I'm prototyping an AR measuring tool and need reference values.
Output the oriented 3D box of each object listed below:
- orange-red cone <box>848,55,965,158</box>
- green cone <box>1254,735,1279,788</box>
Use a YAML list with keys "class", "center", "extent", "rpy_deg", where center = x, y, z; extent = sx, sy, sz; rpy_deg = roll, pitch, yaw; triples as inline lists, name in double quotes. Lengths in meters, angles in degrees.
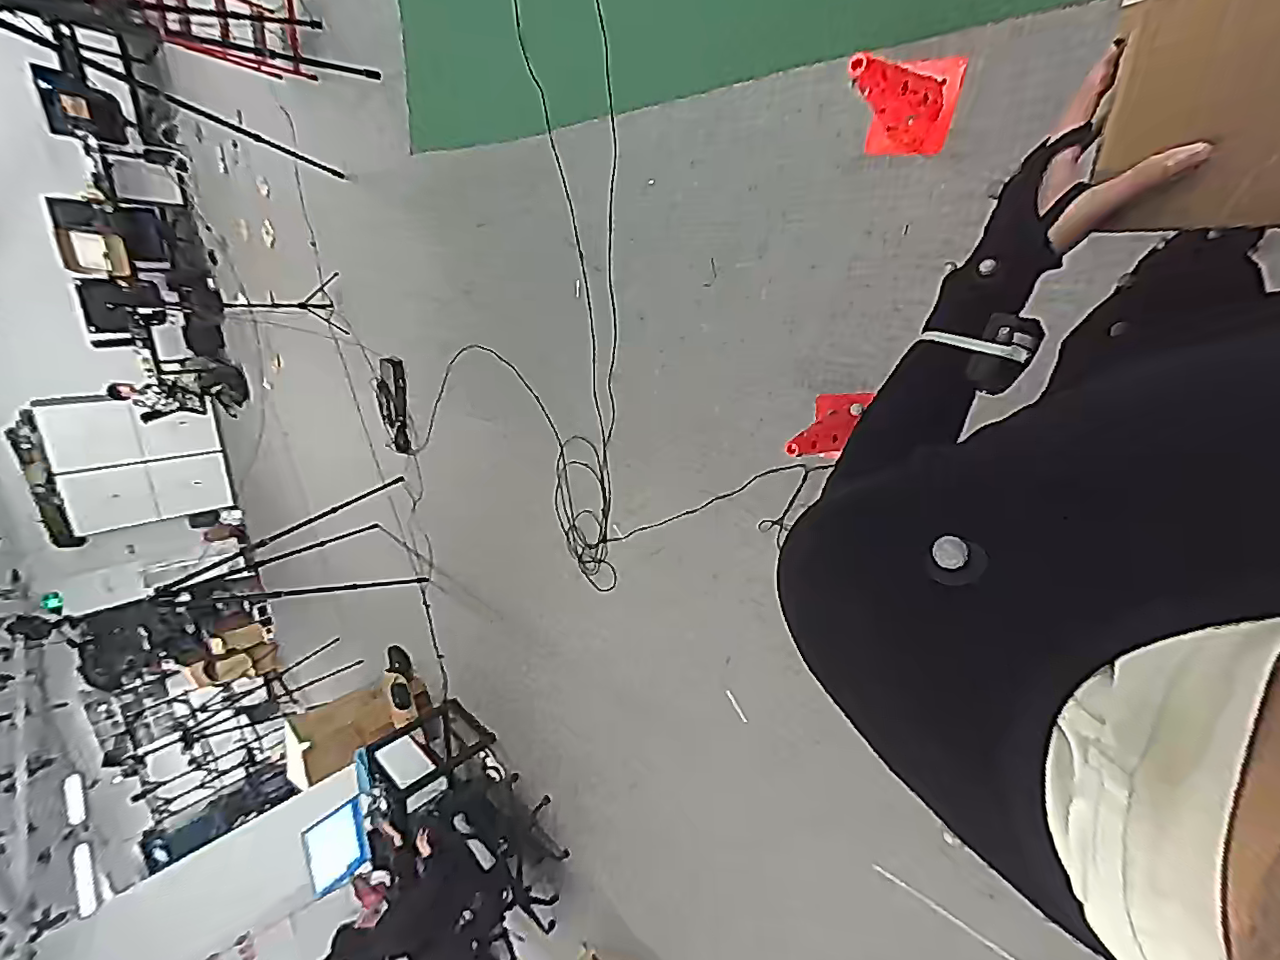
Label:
- class: "orange-red cone"
  center: [0.567, -0.892, 1.241]
  extent: [0.199, 0.360, 0.198]
  rpy_deg: [28, 120, 37]
- class: "green cone"
  center: [1.329, 0.632, 0.986]
  extent: [0.200, 0.368, 0.202]
  rpy_deg: [26, 118, 36]
